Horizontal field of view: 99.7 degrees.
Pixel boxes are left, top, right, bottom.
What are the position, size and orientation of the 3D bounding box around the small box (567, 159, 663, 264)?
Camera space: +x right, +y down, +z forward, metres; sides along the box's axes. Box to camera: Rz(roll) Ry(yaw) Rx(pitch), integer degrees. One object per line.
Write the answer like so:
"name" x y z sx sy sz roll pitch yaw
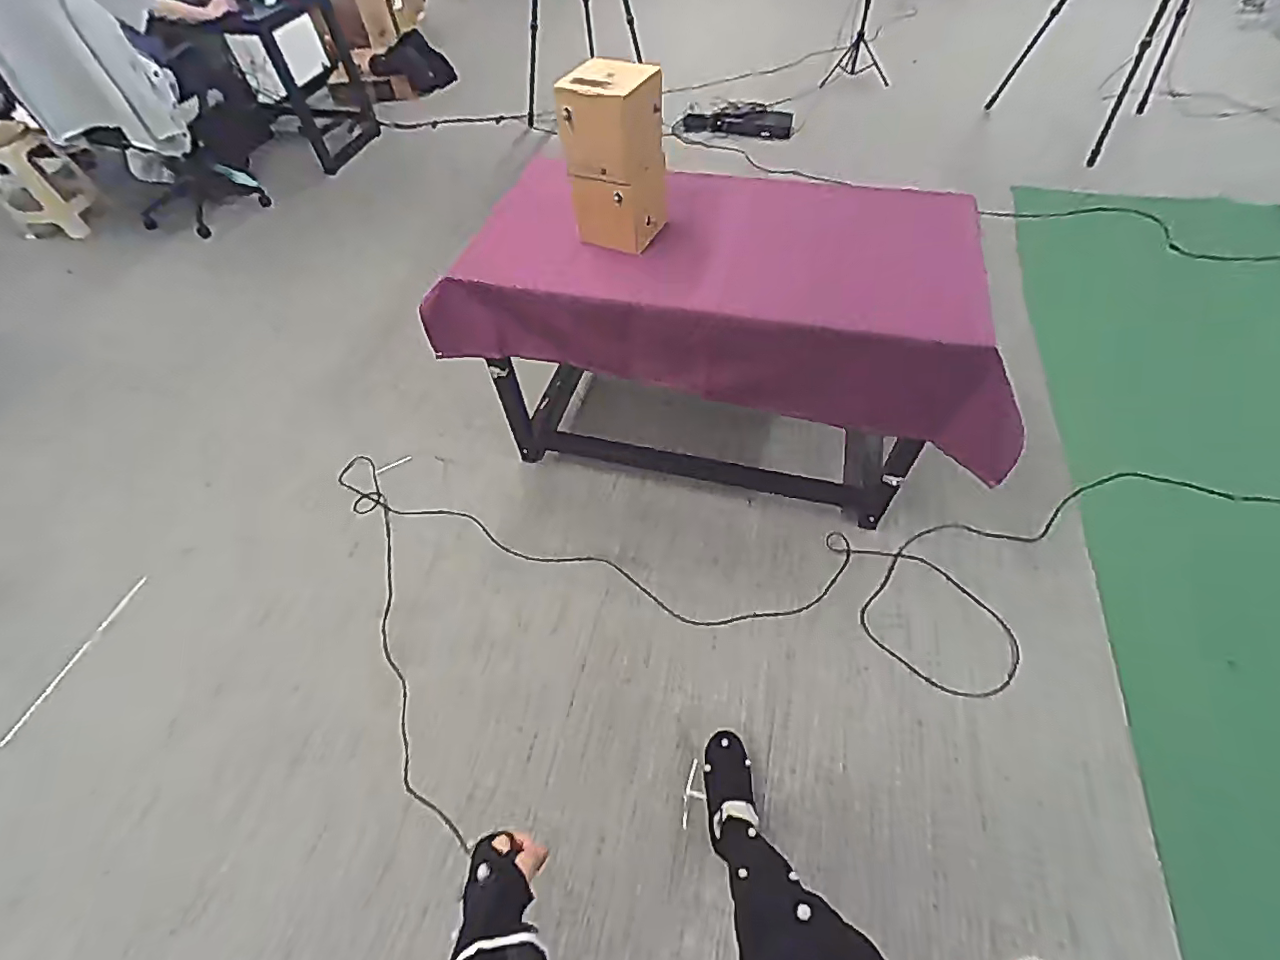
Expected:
"small box" -0.055 -0.659 1.331 0.179 0.176 0.168 21 57 17
